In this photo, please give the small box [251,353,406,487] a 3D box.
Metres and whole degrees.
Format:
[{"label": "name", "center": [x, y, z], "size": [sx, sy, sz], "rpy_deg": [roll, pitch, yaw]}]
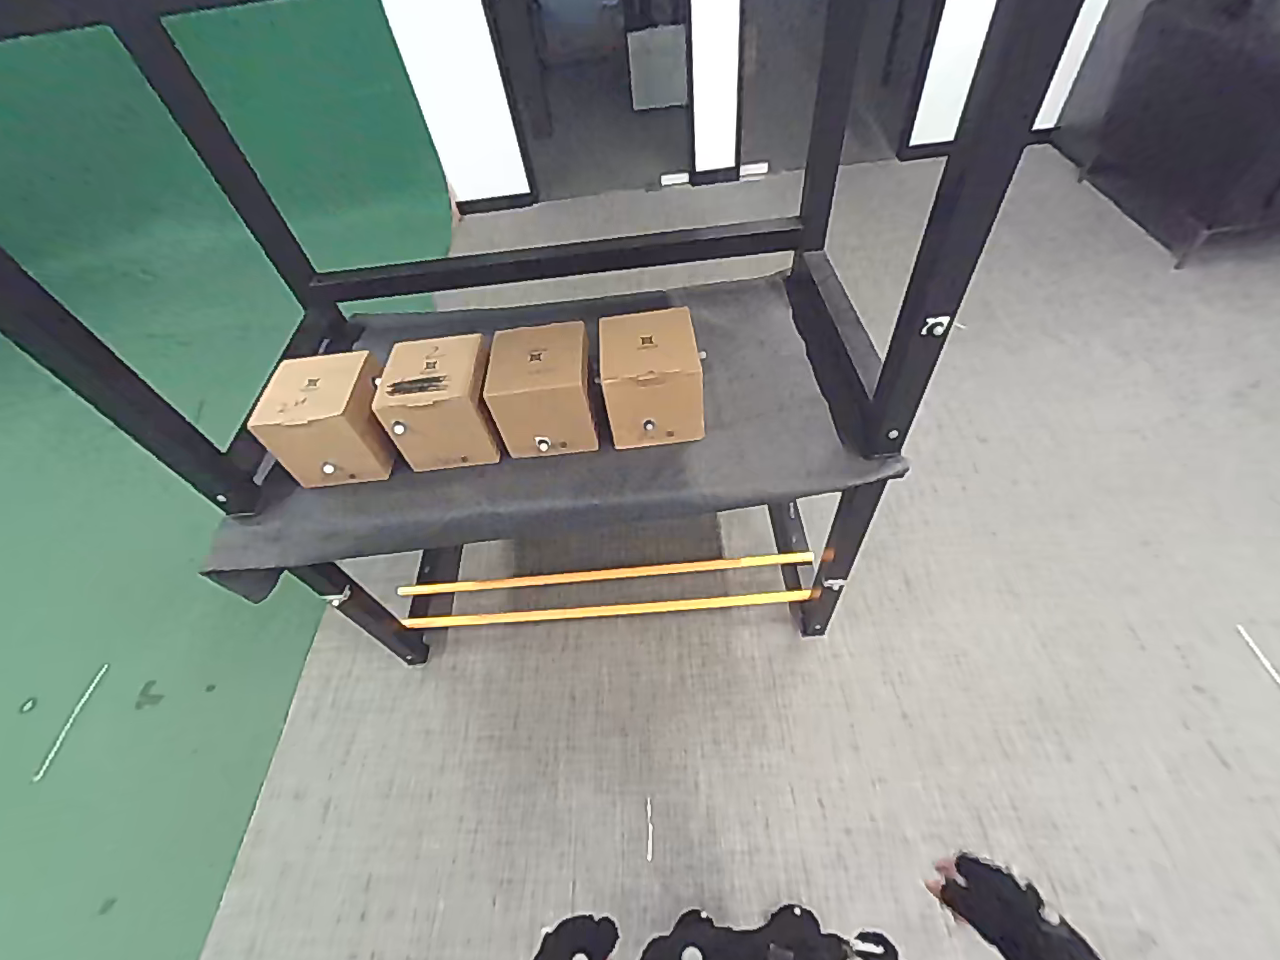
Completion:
[{"label": "small box", "center": [-0.557, -0.109, 0.999], "size": [0.168, 0.176, 0.179], "rpy_deg": [-6, 51, 2]}]
